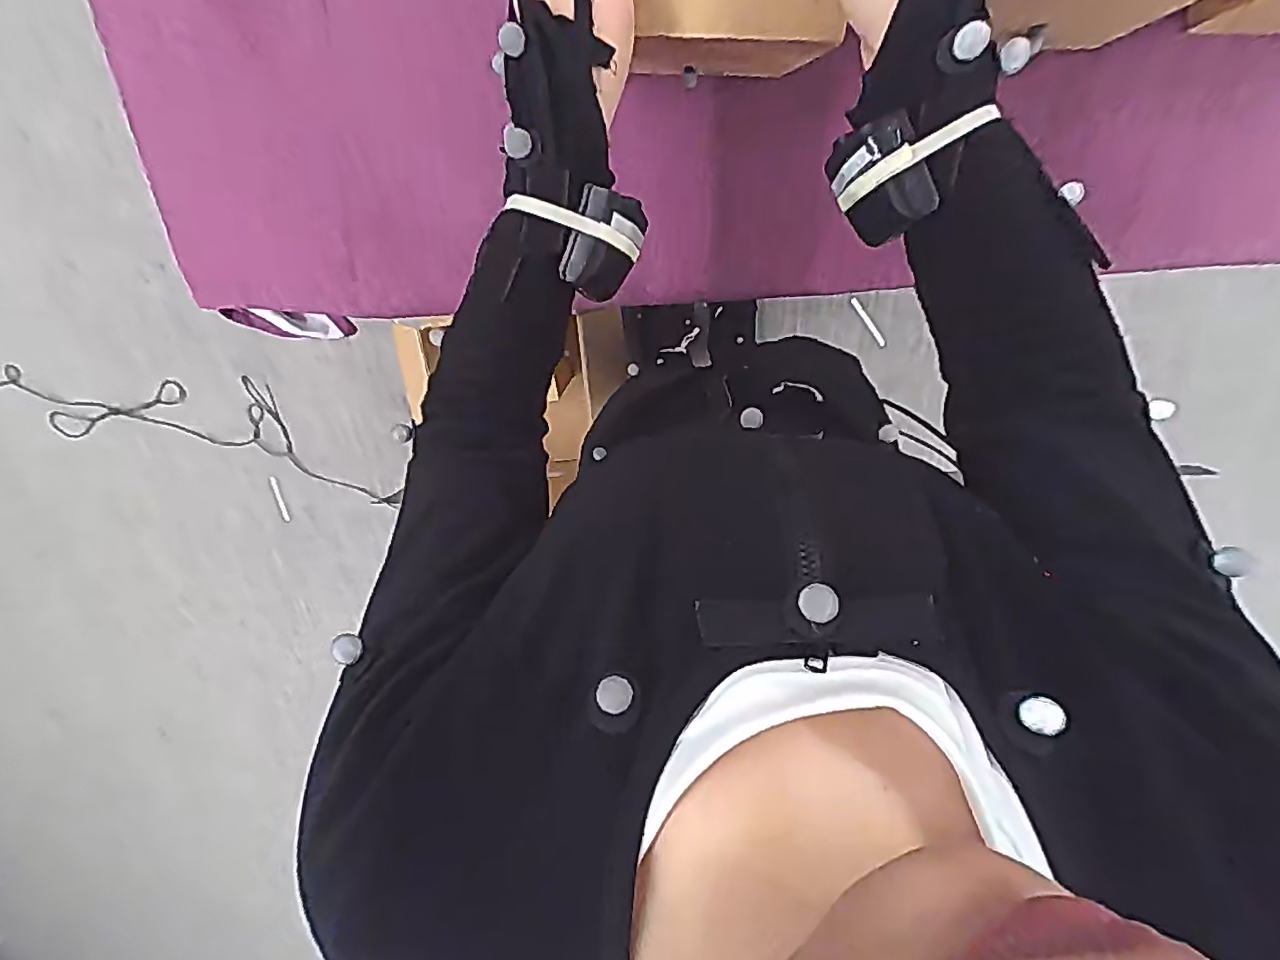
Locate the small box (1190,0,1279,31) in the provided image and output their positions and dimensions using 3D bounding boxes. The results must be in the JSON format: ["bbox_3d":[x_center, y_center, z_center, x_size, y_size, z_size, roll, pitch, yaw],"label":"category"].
[{"bbox_3d":[0.550,-0.425,0.355,0.179,0.176,0.168,3,113,2],"label":"small box"}]

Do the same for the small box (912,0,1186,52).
[{"bbox_3d":[0.309,-0.425,0.365,0.168,0.176,0.179,1,114,4],"label":"small box"}]
